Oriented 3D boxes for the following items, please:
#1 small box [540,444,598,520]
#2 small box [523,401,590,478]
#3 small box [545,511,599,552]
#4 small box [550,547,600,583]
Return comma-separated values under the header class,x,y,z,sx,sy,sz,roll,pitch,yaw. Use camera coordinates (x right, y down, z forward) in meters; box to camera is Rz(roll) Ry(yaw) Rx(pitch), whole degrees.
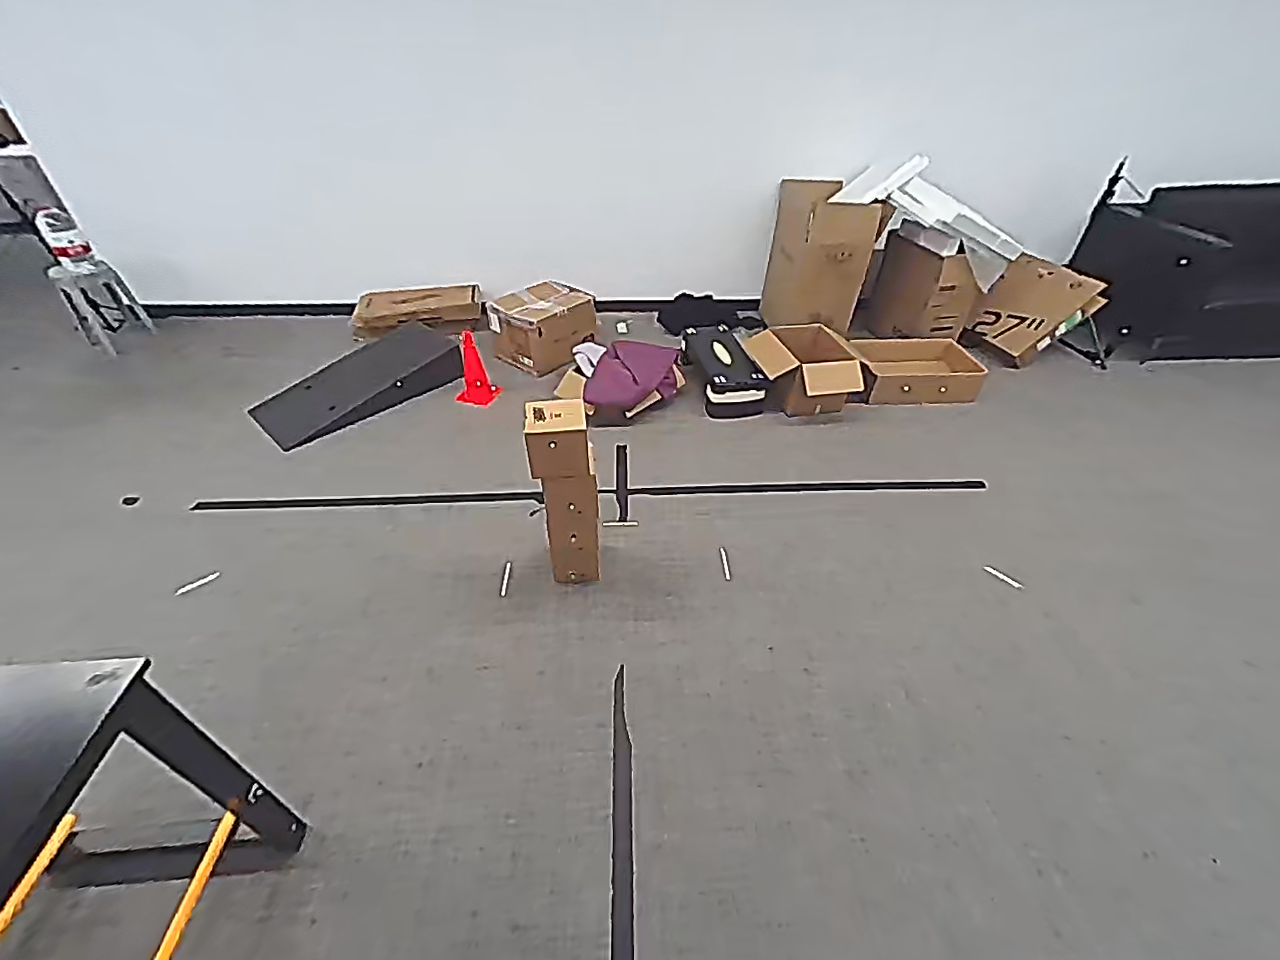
class,x,y,z,sx,sy,sz,roll,pitch,yaw
small box,-0.226,0.006,1.724,0.168,0.176,0.179,-7,40,-6
small box,-0.247,-0.118,1.616,0.179,0.176,0.168,-5,40,-6
small box,-0.225,0.132,1.831,0.168,0.176,0.179,-3,40,-3
small box,-0.231,0.248,1.948,0.168,0.176,0.179,-4,41,-3
